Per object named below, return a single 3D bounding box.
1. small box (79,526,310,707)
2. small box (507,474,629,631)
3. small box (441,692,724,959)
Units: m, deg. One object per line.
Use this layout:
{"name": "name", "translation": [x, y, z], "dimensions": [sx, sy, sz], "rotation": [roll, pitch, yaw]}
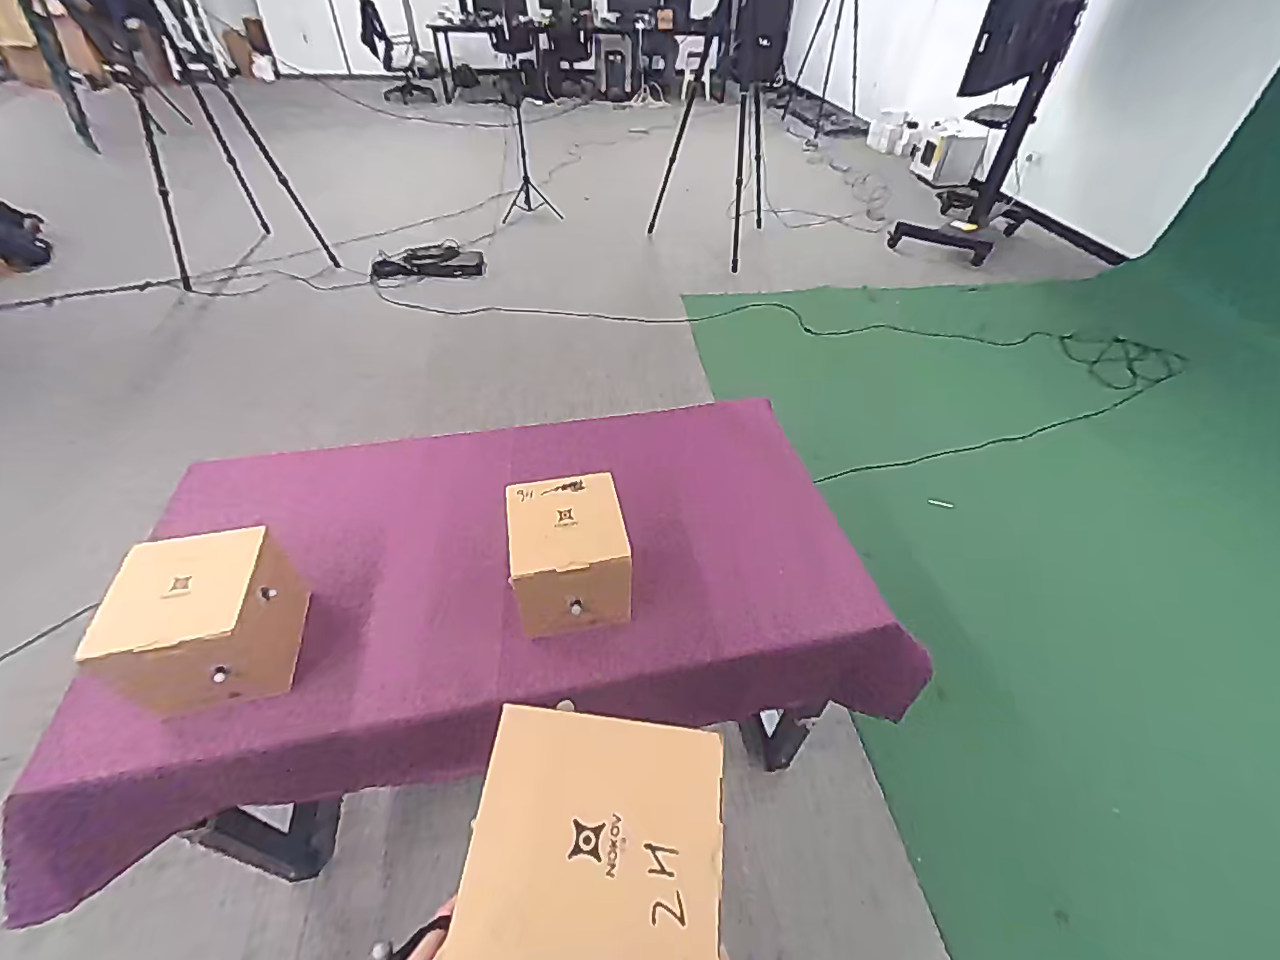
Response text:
{"name": "small box", "translation": [-0.585, 0.192, 0.745], "dimensions": [0.168, 0.176, 0.179], "rotation": [-8, 45, -11]}
{"name": "small box", "translation": [-0.110, 0.117, 0.839], "dimensions": [0.168, 0.176, 0.179], "rotation": [-7, 46, -10]}
{"name": "small box", "translation": [-0.037, 0.292, 0.444], "dimensions": [0.179, 0.176, 0.168], "rotation": [9, 54, -1]}
